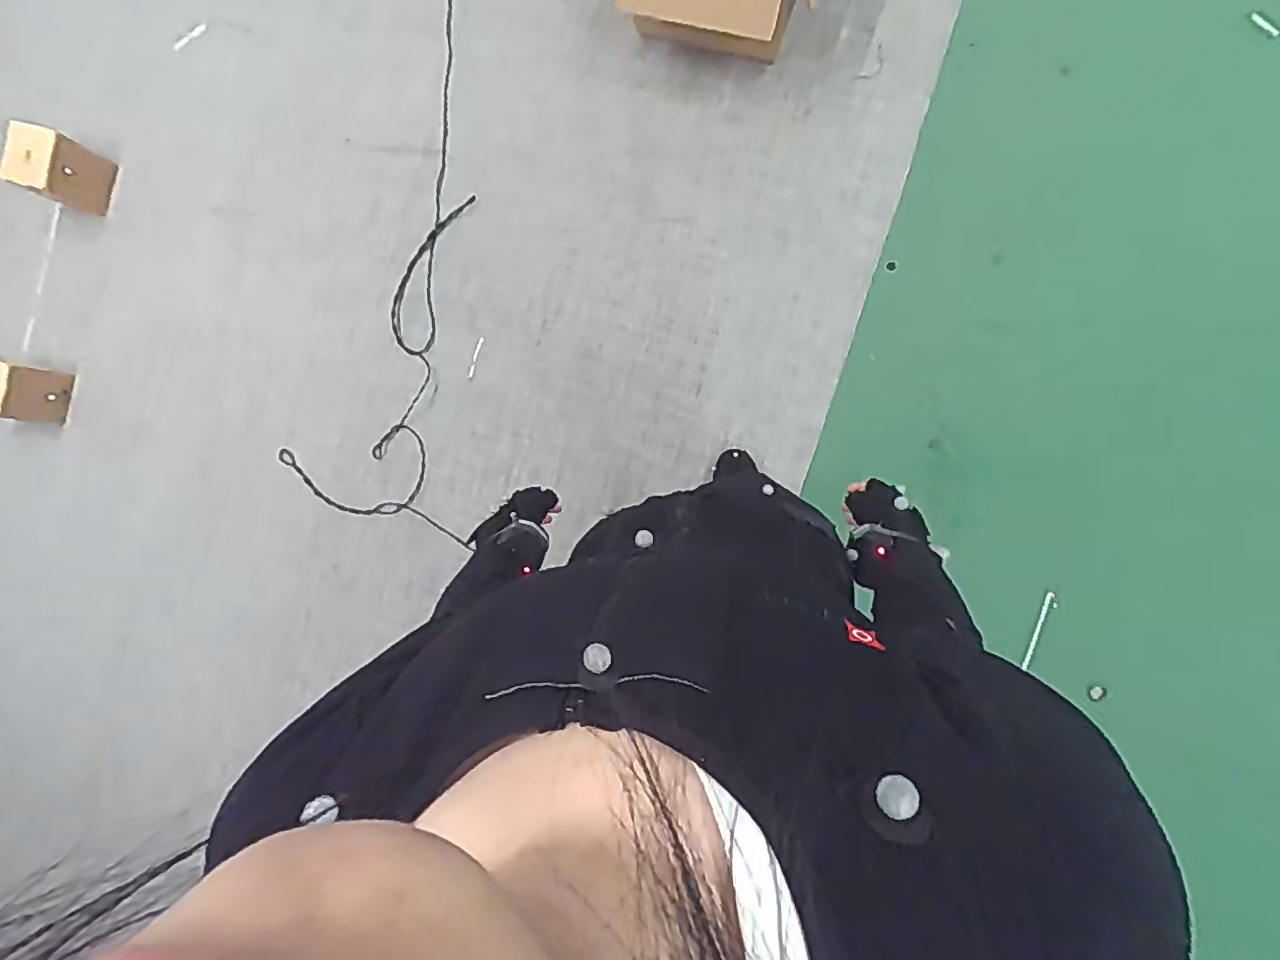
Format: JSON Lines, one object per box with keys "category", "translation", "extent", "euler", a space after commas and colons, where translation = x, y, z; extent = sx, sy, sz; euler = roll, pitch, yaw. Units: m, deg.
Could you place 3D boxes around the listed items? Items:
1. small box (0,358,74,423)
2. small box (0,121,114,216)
{"category": "small box", "translation": [-1.942, -0.280, 1.682], "extent": [0.179, 0.176, 0.168], "euler": [16, 93, 7]}
{"category": "small box", "translation": [-1.772, -0.943, 1.648], "extent": [0.168, 0.176, 0.179], "euler": [16, 94, 7]}
